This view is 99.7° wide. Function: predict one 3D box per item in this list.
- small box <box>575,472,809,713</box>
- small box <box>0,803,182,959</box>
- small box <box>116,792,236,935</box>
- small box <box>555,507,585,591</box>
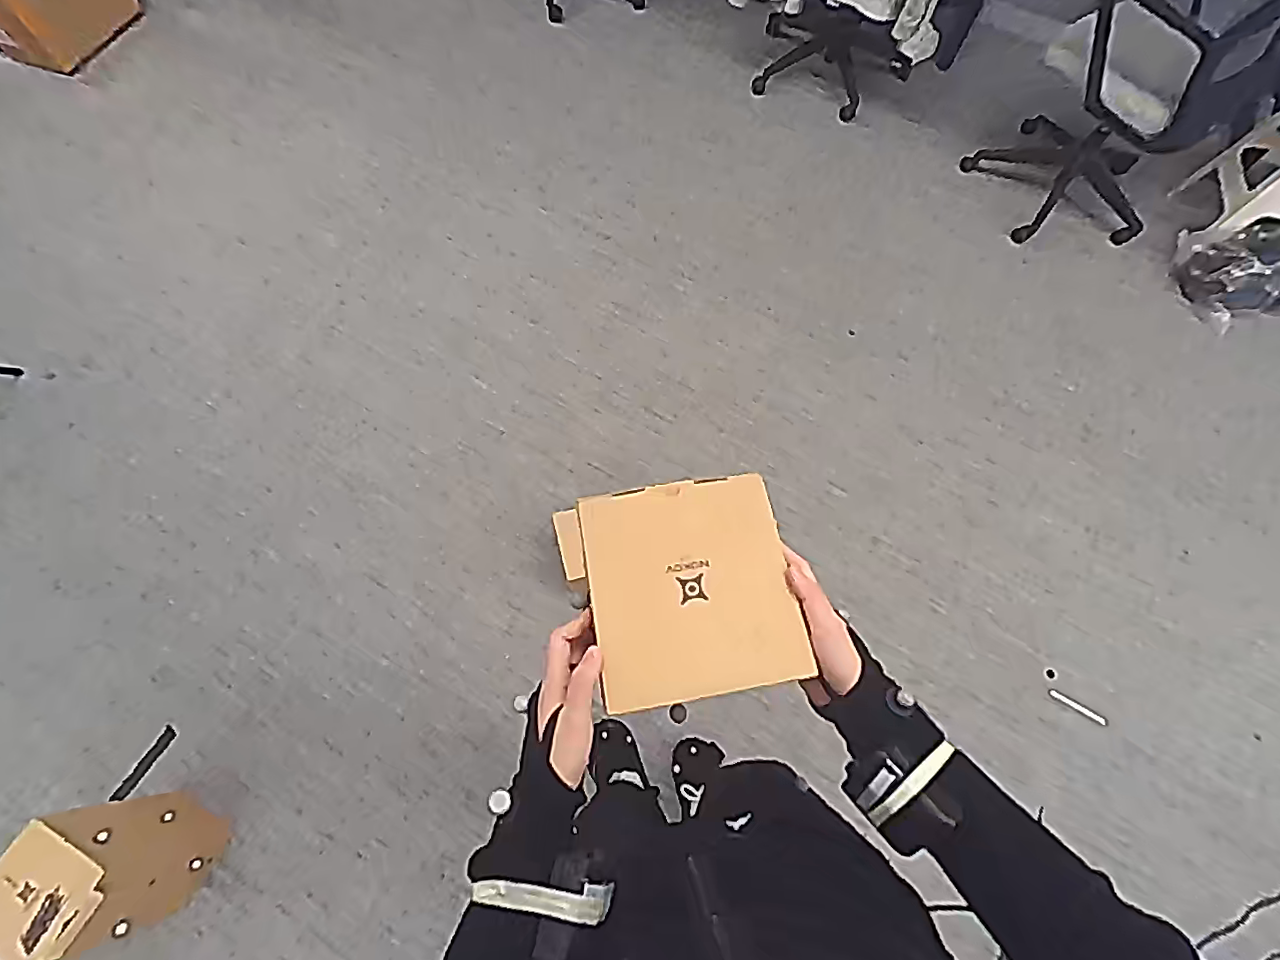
[{"bbox_3d":[0.035,0.114,0.511,0.168,0.176,0.179,-8,66,-7],"label":"small box"},{"bbox_3d":[-0.990,0.707,0.963,0.179,0.176,0.168,26,69,9],"label":"small box"},{"bbox_3d":[-0.998,0.772,1.114,0.179,0.176,0.168,24,69,9],"label":"small box"},{"bbox_3d":[-0.115,0.168,1.382,0.168,0.176,0.179,-14,69,-8],"label":"small box"}]
